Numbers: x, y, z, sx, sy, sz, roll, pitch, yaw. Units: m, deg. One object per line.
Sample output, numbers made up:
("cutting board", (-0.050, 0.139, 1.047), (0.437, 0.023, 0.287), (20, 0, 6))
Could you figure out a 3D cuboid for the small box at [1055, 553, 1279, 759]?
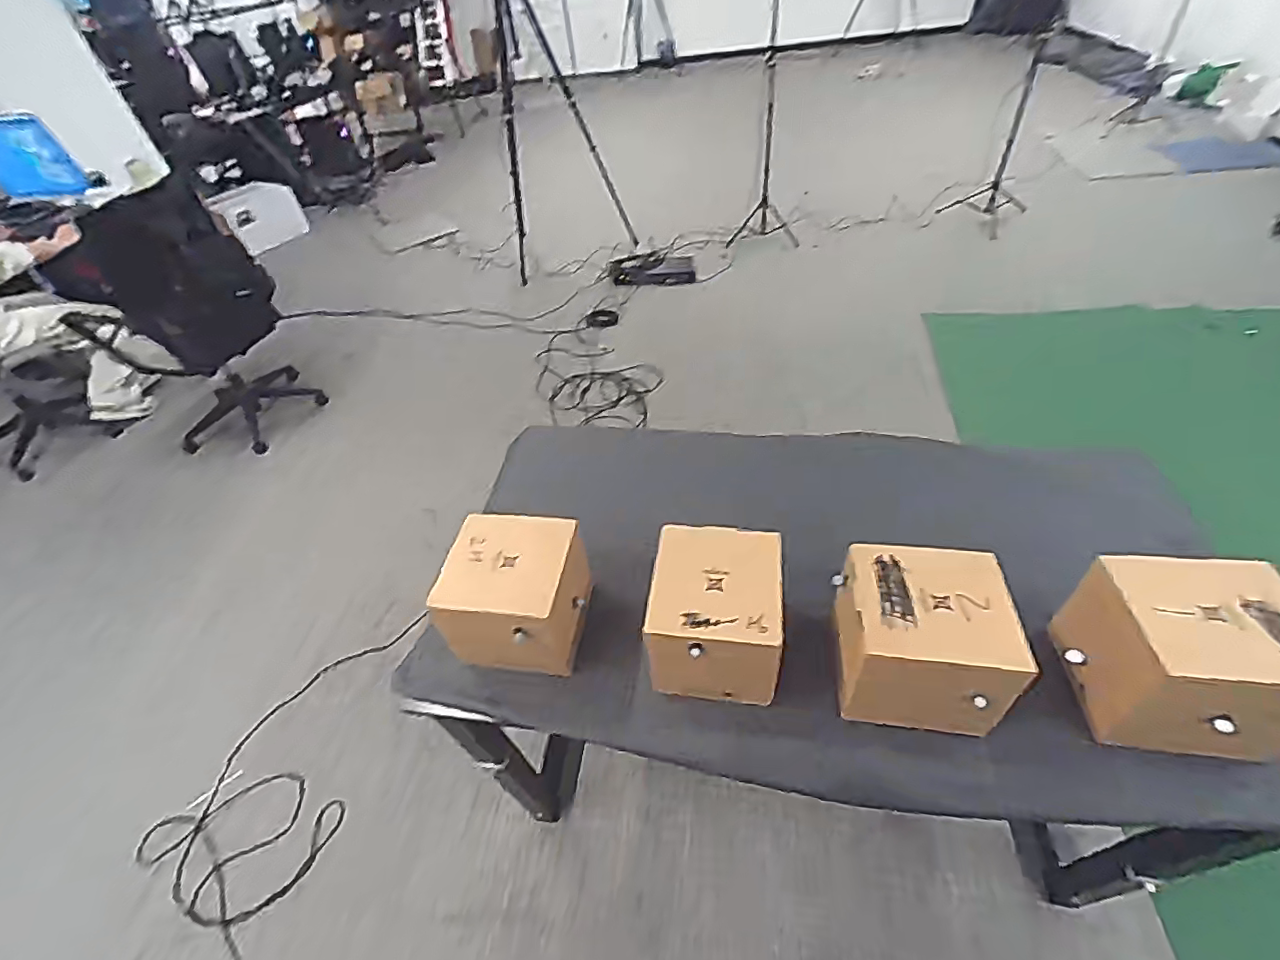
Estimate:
("small box", (0.645, 0.208, 0.639), (0.179, 0.176, 0.168), (2, 43, 13))
